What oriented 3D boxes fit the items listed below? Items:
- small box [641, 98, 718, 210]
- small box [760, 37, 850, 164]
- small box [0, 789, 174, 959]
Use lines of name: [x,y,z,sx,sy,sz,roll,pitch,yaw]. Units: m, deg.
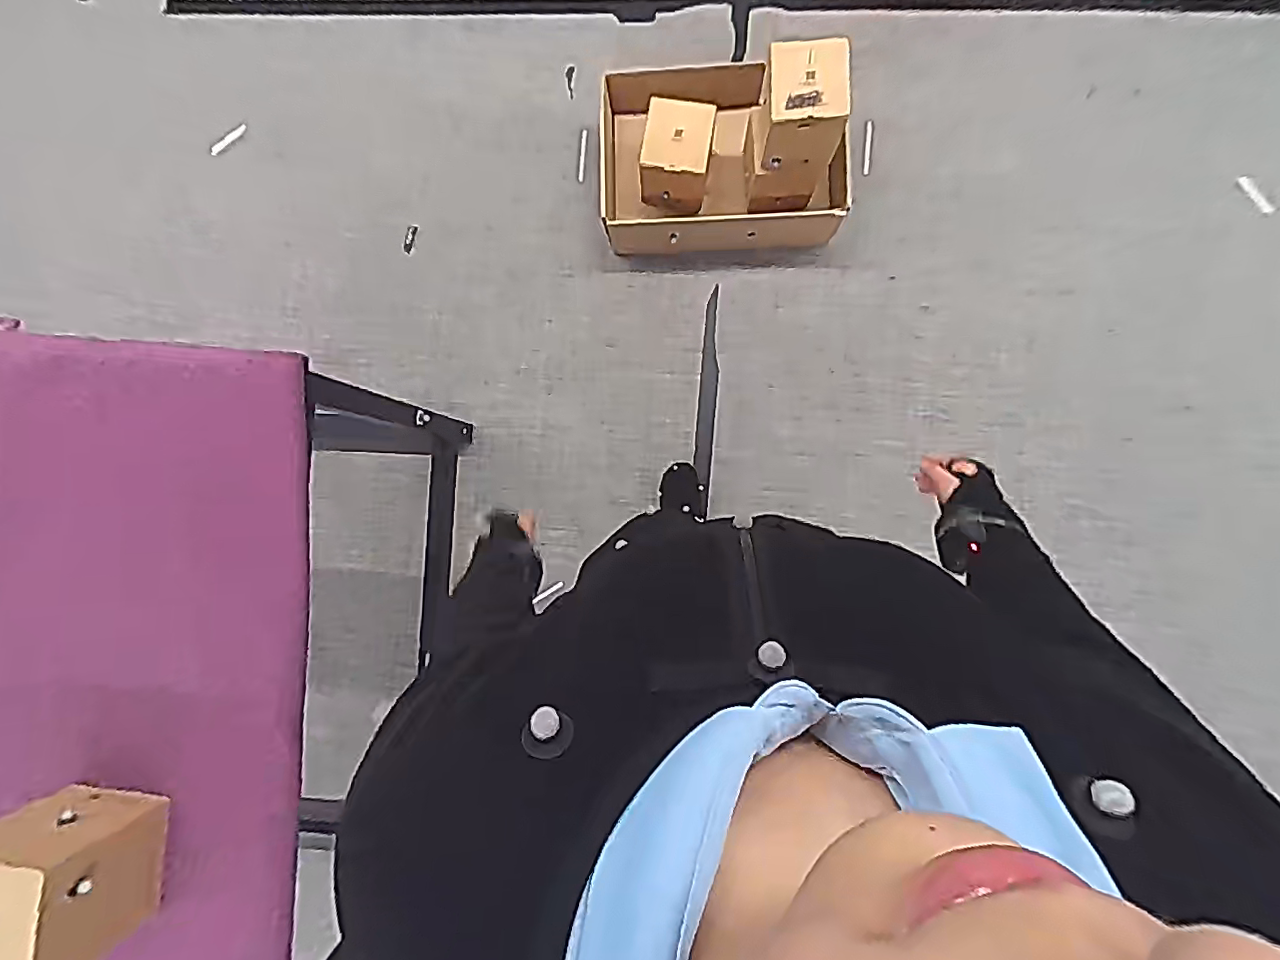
small box: [0.100,-0.839,1.403,0.168,0.176,0.179,10,88,3]
small box: [0.366,-0.839,1.217,0.168,0.176,0.179,0,87,4]
small box: [-0.793,0.556,0.740,0.168,0.176,0.179,5,88,5]
